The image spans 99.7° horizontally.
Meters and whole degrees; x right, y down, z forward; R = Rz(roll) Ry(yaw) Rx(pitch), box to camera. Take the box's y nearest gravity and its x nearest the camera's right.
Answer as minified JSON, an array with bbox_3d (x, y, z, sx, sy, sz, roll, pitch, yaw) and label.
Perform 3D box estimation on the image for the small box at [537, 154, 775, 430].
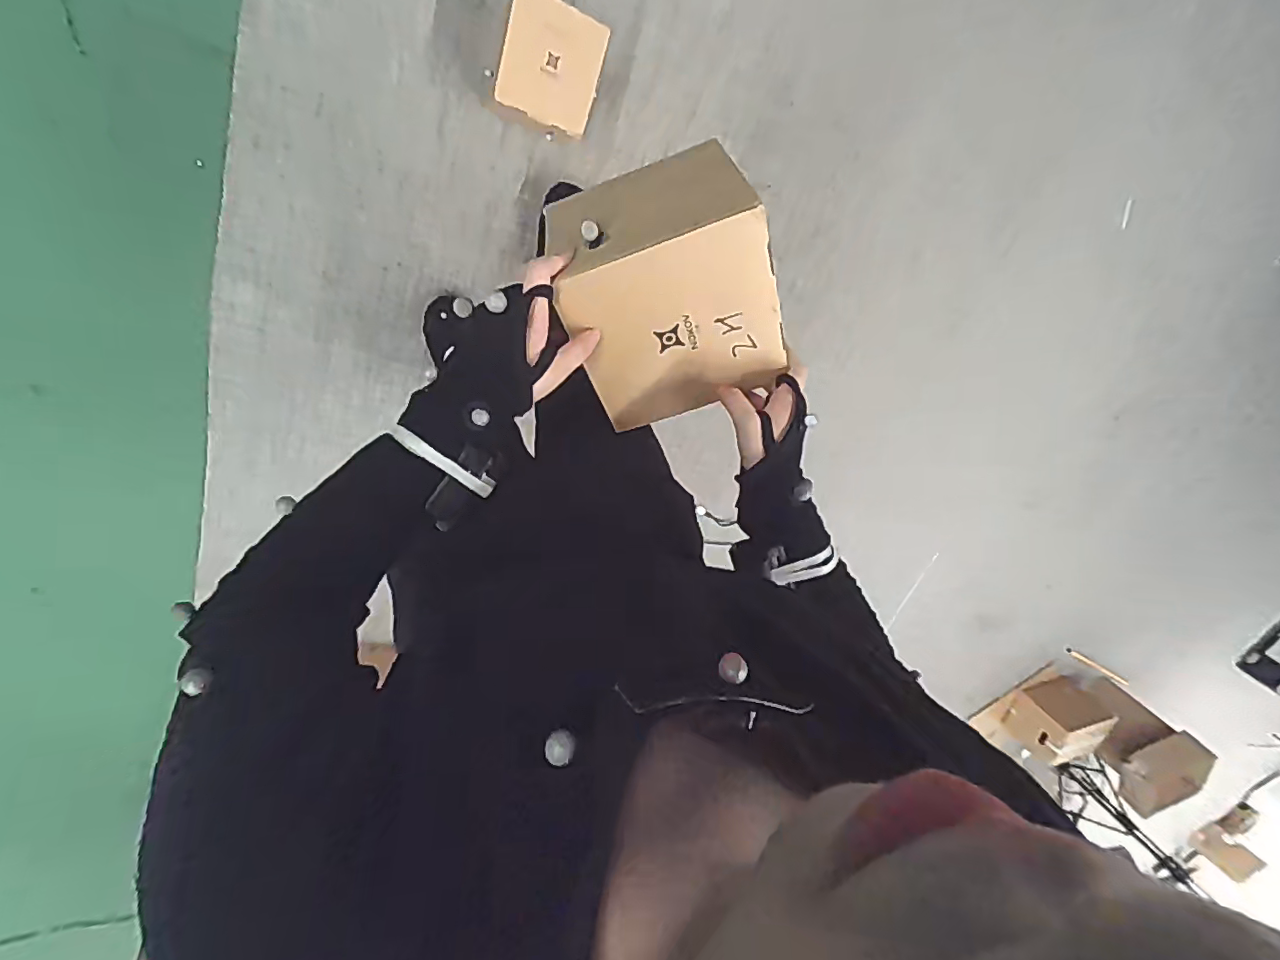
[{"bbox_3d":[0.016,-0.182,0.527,0.179,0.176,0.168,-18,136,9],"label":"small box"}]

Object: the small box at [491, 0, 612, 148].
[{"bbox_3d":[-0.173,-0.743,1.005,0.168,0.176,0.179,10,114,-27],"label":"small box"}]
